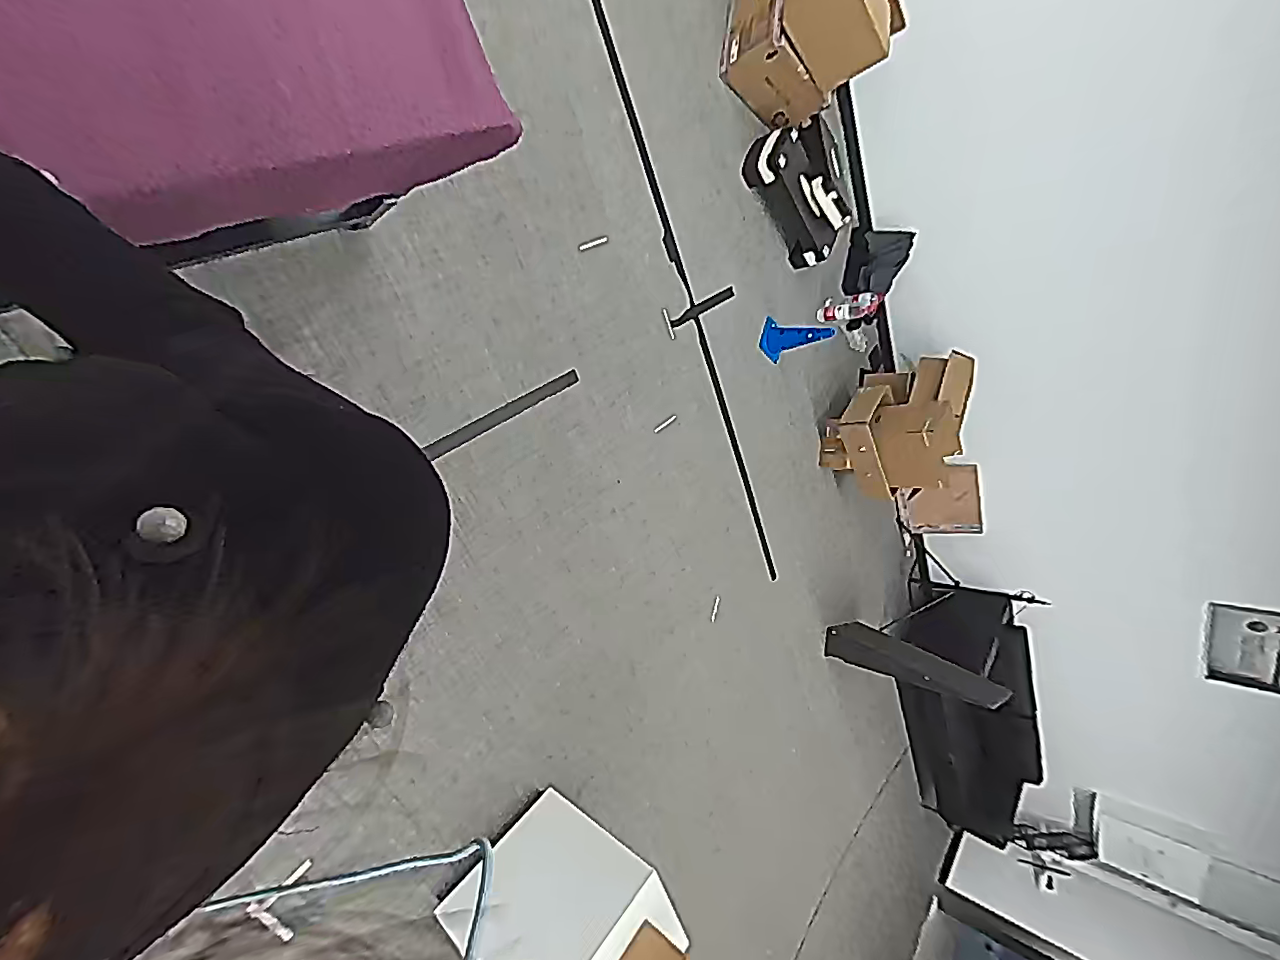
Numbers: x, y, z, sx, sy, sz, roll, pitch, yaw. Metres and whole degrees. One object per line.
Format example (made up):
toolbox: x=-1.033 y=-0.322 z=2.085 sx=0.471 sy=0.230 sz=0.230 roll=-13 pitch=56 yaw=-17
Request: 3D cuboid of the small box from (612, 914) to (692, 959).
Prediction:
small box: x=0.040 y=1.419 z=1.560 sx=0.179 sy=0.176 sz=0.168 roll=-38 pitch=118 yaw=-35
